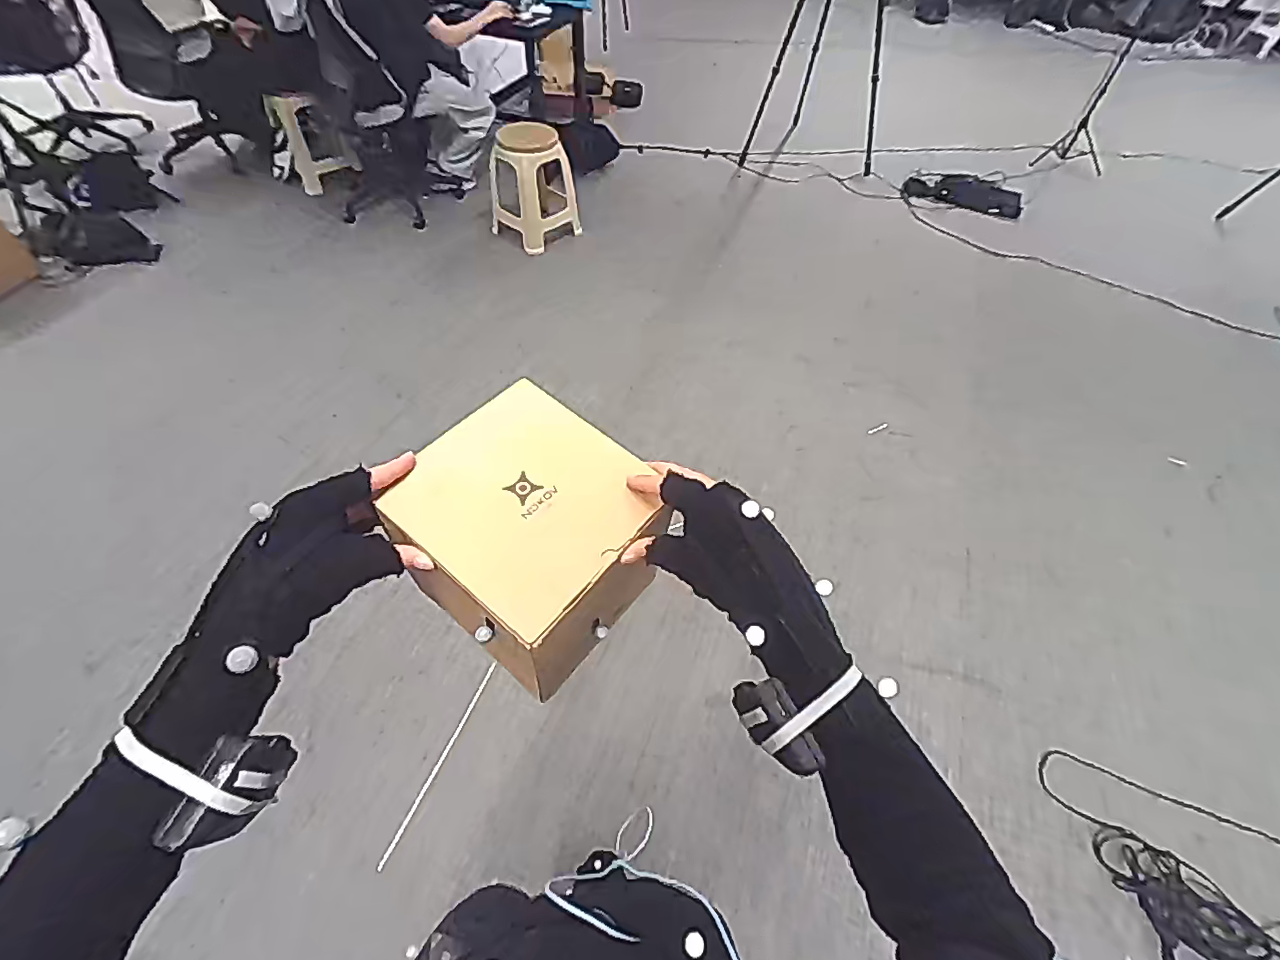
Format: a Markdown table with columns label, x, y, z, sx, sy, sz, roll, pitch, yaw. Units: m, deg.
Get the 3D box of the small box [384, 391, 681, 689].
| label | x | y | z | sx | sy | sz | roll | pitch | yaw |
| --- | --- | --- | --- | --- | --- | --- | --- | --- | --- |
| small box | -0.091 | 0.060 | 0.492 | 0.179 | 0.176 | 0.168 | 37 | 59 | 16 |
